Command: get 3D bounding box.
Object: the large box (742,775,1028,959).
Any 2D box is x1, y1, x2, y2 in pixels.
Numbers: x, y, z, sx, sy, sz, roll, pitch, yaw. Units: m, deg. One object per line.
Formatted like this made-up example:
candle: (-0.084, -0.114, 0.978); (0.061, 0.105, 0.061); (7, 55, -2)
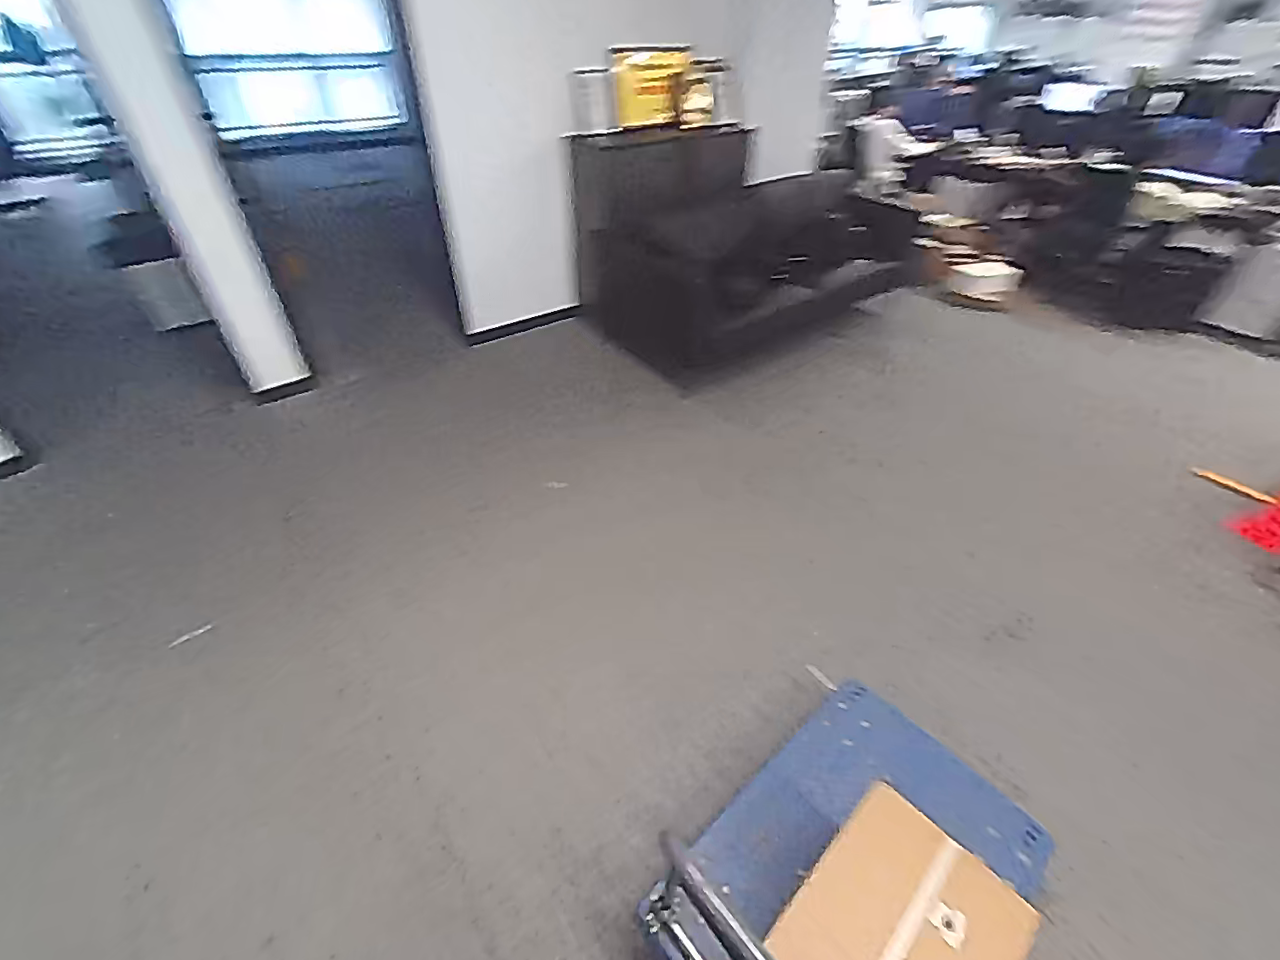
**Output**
large box: (0.440, 0.884, 1.031); (0.408, 0.320, 0.320); (-29, 51, -32)
